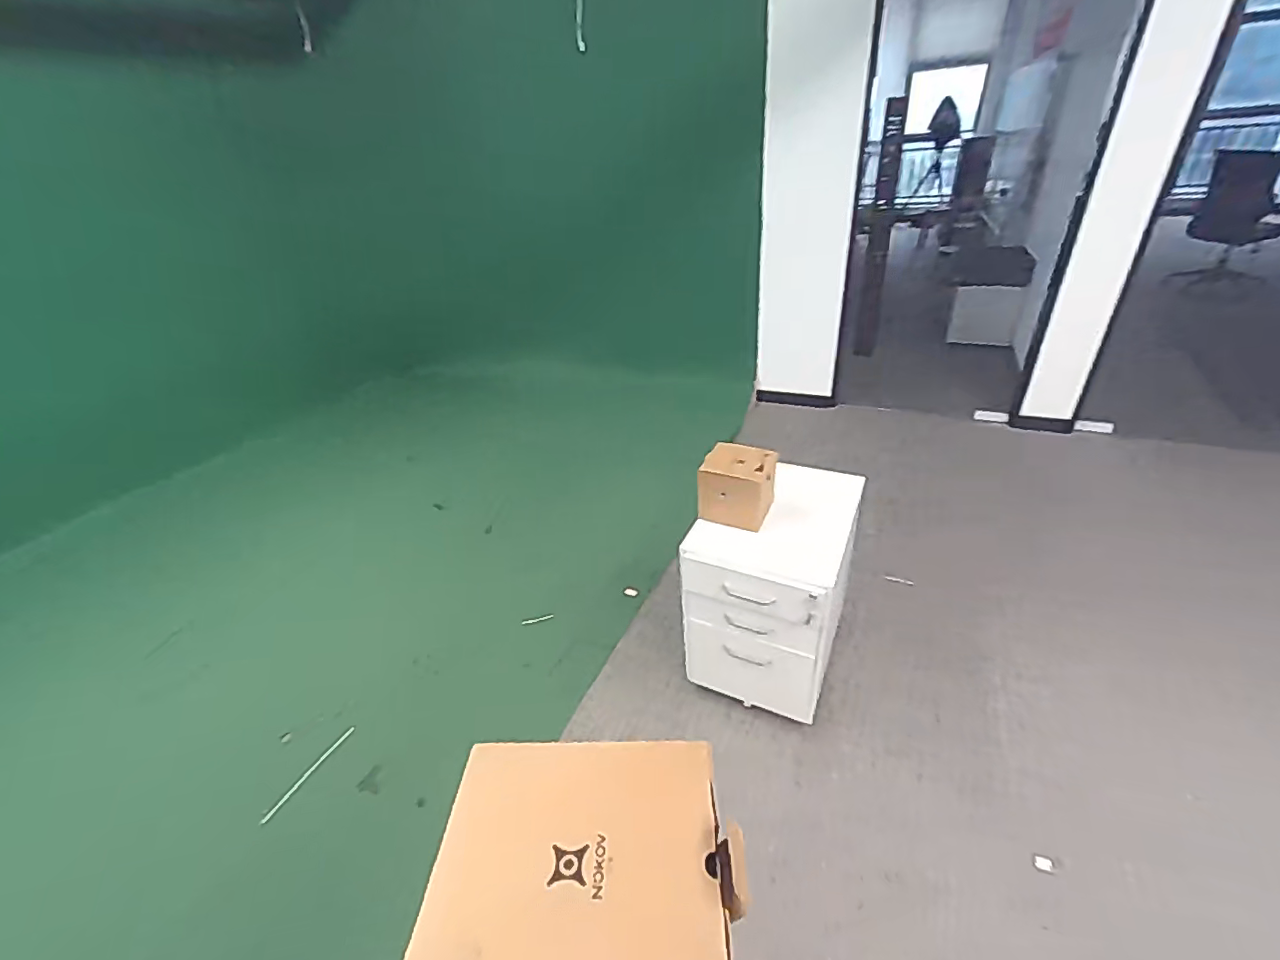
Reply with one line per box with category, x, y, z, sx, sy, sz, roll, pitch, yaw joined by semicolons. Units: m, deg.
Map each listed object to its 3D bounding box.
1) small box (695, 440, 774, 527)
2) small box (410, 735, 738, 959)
small box;0.265;0.010;1.506;0.179;0.176;0.168;12;37;24
small box;-0.030;0.299;0.363;0.179;0.176;0.168;-2;28;2
